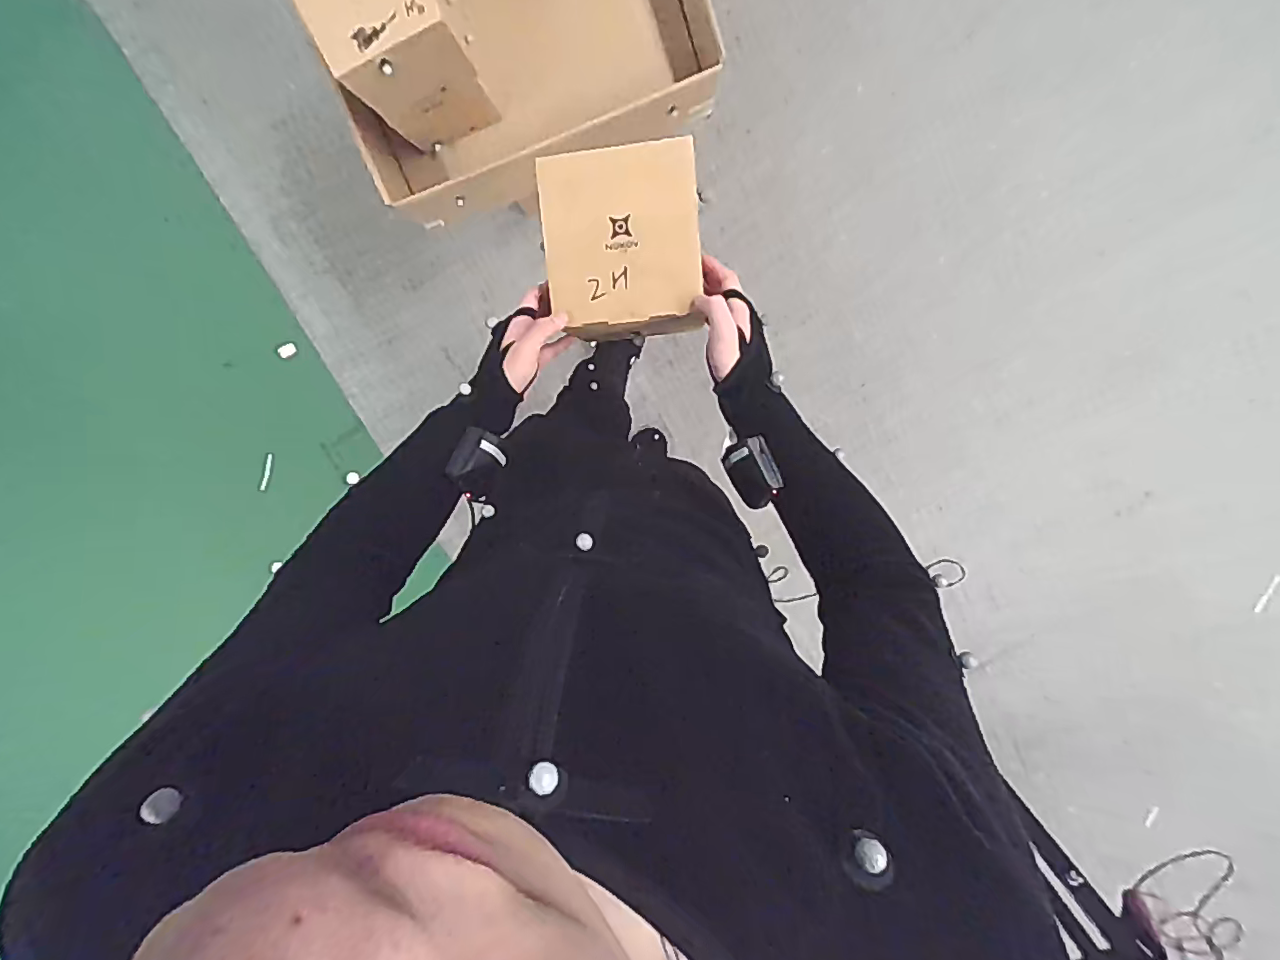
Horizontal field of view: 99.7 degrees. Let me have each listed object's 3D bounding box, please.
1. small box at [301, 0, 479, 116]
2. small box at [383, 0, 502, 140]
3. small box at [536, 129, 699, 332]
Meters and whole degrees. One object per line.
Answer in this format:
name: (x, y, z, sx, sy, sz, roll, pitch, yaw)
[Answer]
small box: (-0.356, -0.664, 0.761, 0.168, 0.176, 0.179, -22, 104, 9)
small box: (-0.357, -0.711, 0.918, 0.168, 0.176, 0.179, -20, 104, 7)
small box: (-0.015, -0.281, 0.650, 0.168, 0.176, 0.179, -3, 99, 9)
